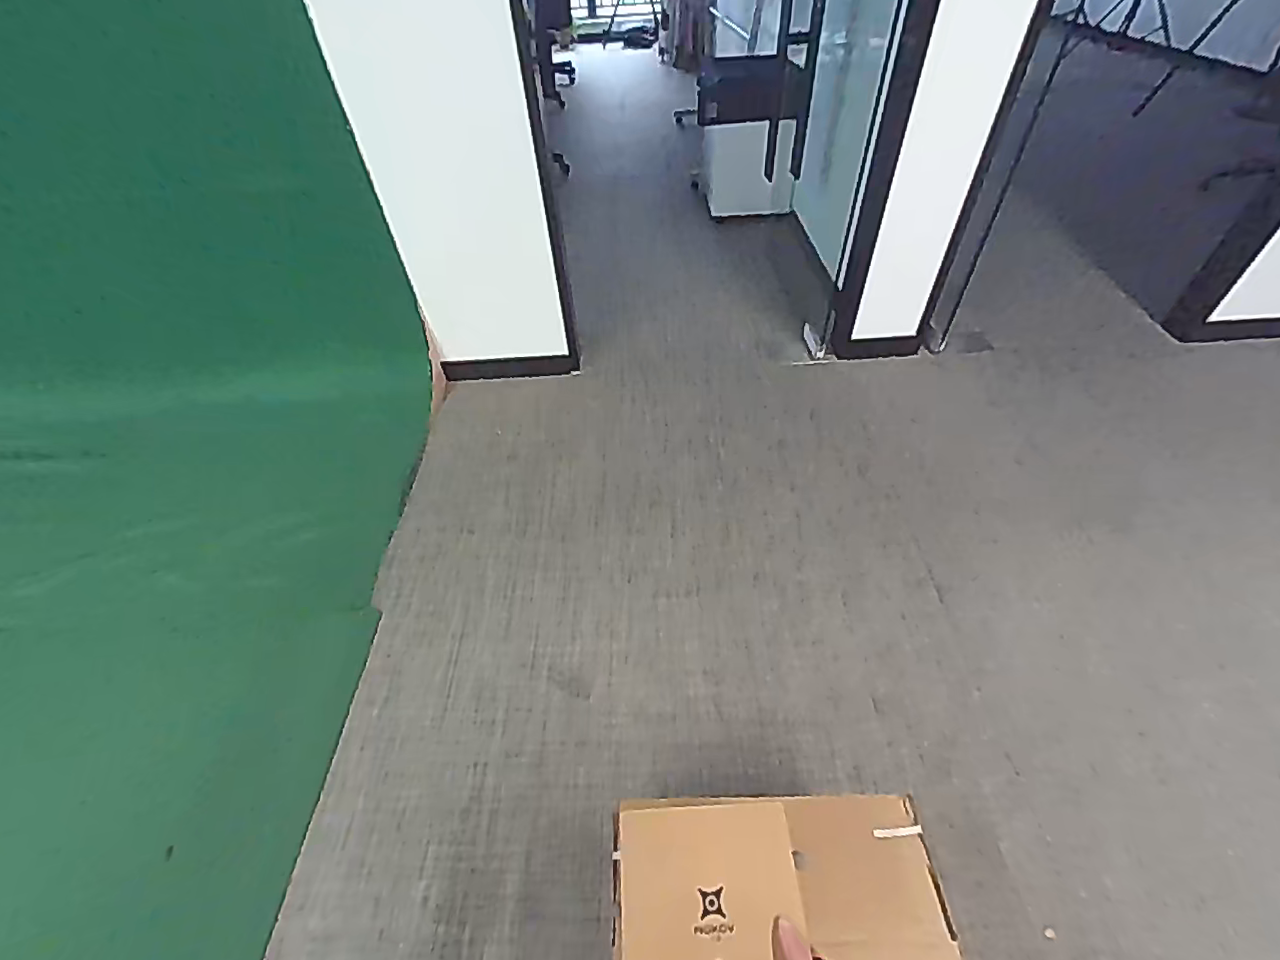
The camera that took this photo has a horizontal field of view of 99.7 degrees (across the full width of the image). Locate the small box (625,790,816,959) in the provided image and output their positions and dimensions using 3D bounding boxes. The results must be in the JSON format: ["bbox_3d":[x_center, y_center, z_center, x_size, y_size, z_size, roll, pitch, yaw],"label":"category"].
[{"bbox_3d":[0.074,0.438,0.550,0.168,0.176,0.179,-6,48,3],"label":"small box"}]
